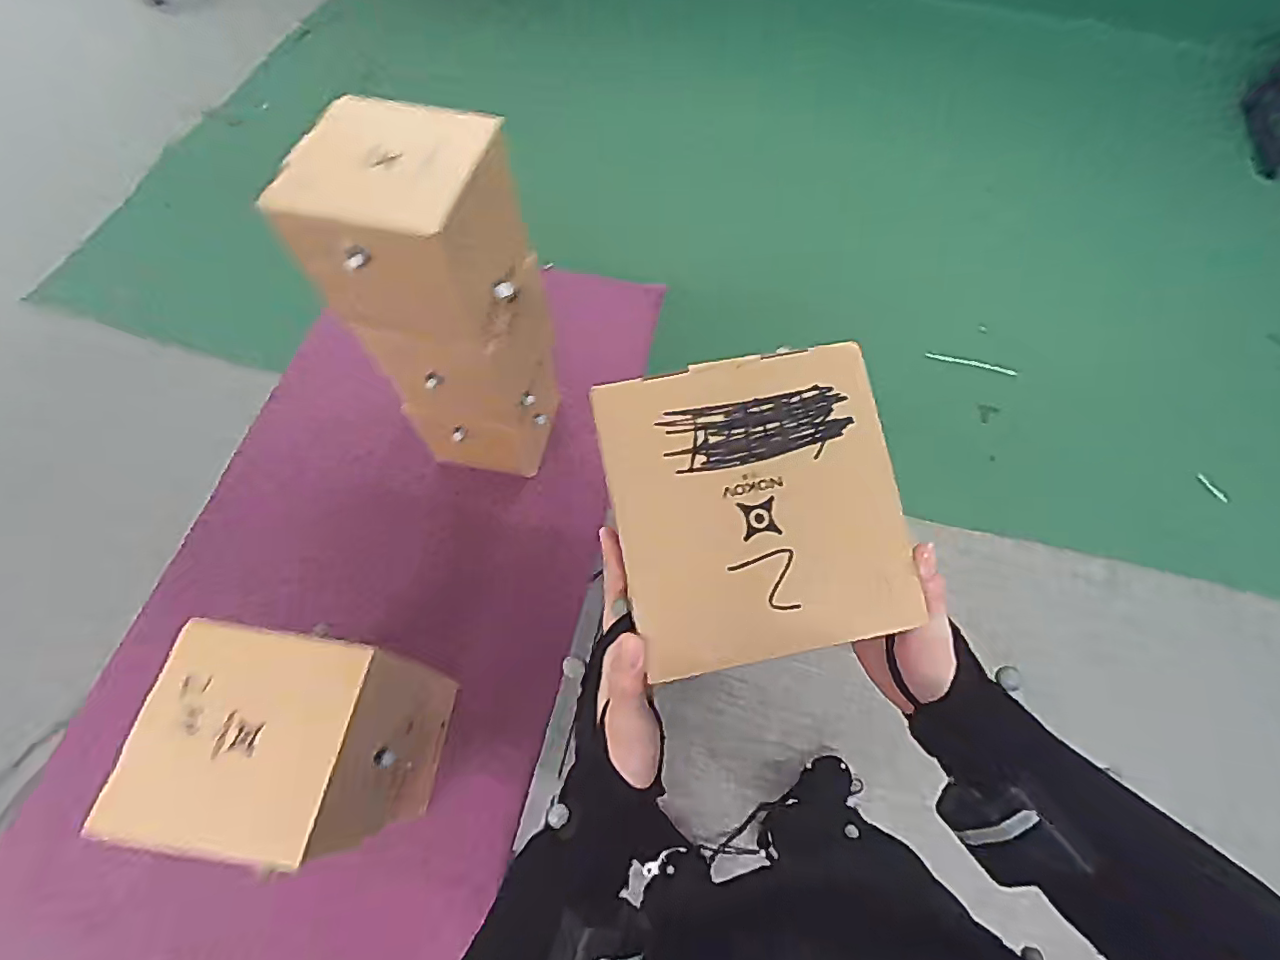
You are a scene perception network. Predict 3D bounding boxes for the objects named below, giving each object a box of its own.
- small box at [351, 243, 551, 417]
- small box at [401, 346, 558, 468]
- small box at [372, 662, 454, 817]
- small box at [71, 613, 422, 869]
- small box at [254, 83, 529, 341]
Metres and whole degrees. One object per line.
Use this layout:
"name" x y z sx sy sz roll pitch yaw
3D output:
"small box" -0.230 -0.203 0.716 0.179 0.176 0.168 12 65 6
"small box" -0.240 -0.134 0.866 0.179 0.176 0.168 10 66 5
"small box" -0.354 0.303 0.658 0.179 0.176 0.168 7 66 2
"small box" -0.332 0.235 0.508 0.179 0.176 0.168 9 64 2
"small box" -0.236 -0.271 0.568 0.179 0.176 0.168 13 66 6
